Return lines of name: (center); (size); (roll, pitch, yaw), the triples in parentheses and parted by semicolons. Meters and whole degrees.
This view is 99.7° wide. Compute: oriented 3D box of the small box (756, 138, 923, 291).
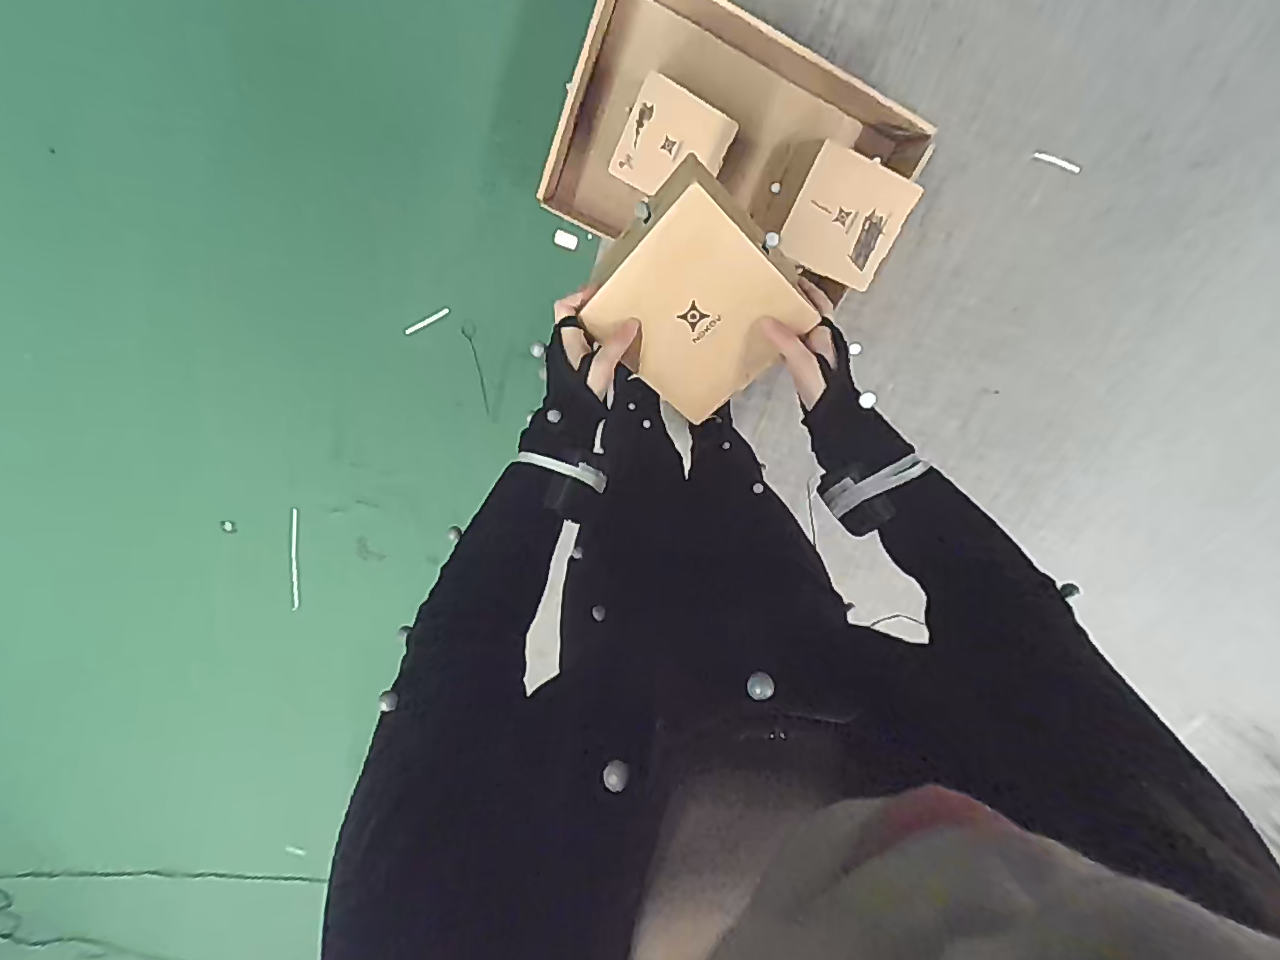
small box: (0.314, -0.439, 0.895); (0.179, 0.176, 0.168); (19, 117, -11)

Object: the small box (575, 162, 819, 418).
small box: (0.056, -0.207, 0.578); (0.179, 0.176, 0.168); (36, 122, -23)
